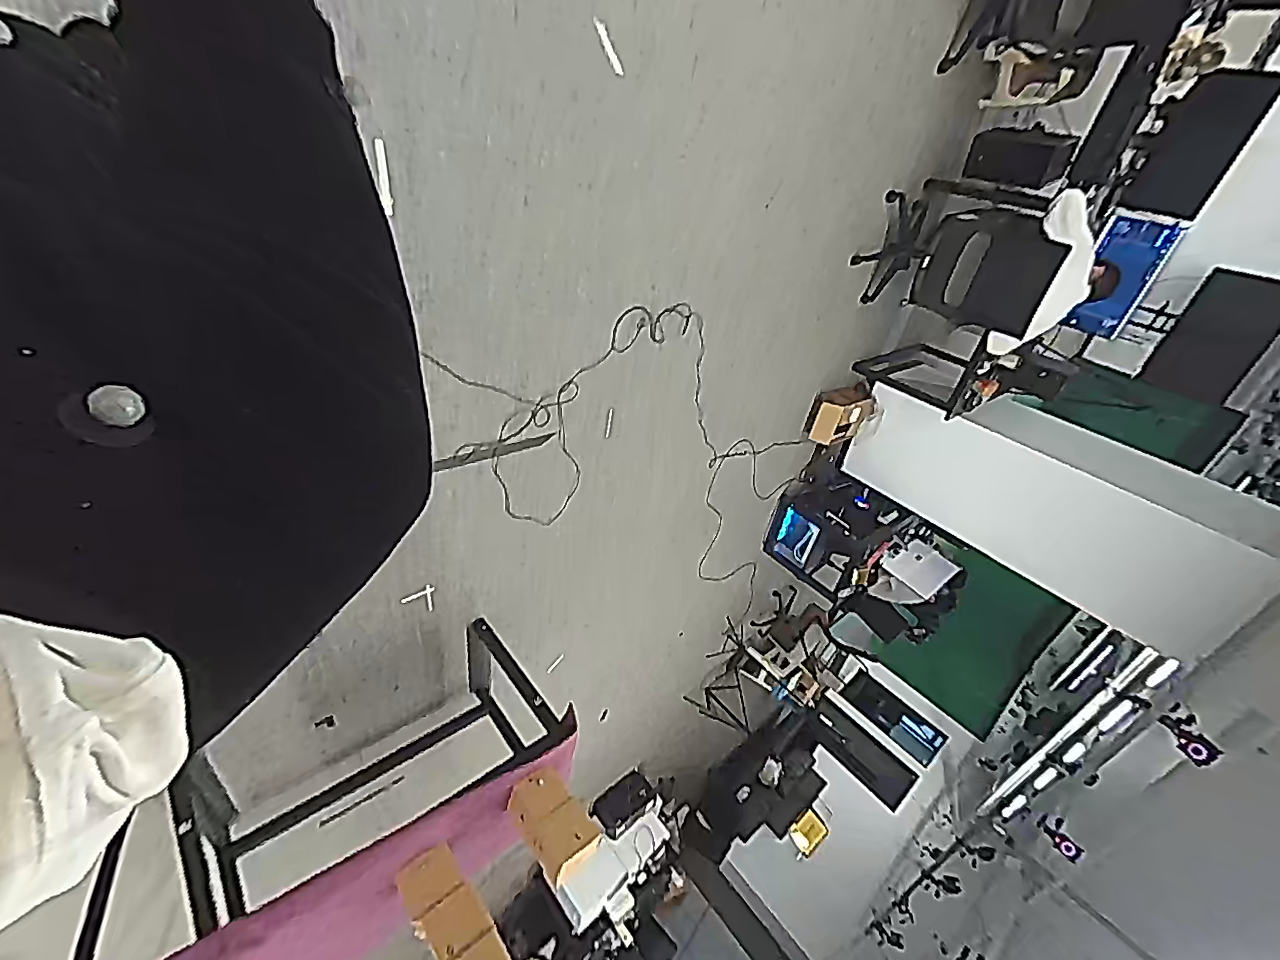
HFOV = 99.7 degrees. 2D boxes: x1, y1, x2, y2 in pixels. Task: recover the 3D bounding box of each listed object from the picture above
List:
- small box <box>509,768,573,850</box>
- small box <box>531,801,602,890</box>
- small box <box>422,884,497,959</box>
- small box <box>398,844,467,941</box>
[{"bbox_3d":[-0.382,1.245,2.059,0.168,0.176,0.179,-10,127,-44],"label":"small box"},{"bbox_3d":[-0.269,1.317,1.963,0.179,0.176,0.168,-13,128,-42],"label":"small box"},{"bbox_3d":[-0.579,1.456,1.738,0.179,0.176,0.168,-22,136,-35],"label":"small box"},{"bbox_3d":[-0.700,1.387,1.825,0.179,0.176,0.168,-22,136,-35],"label":"small box"}]
